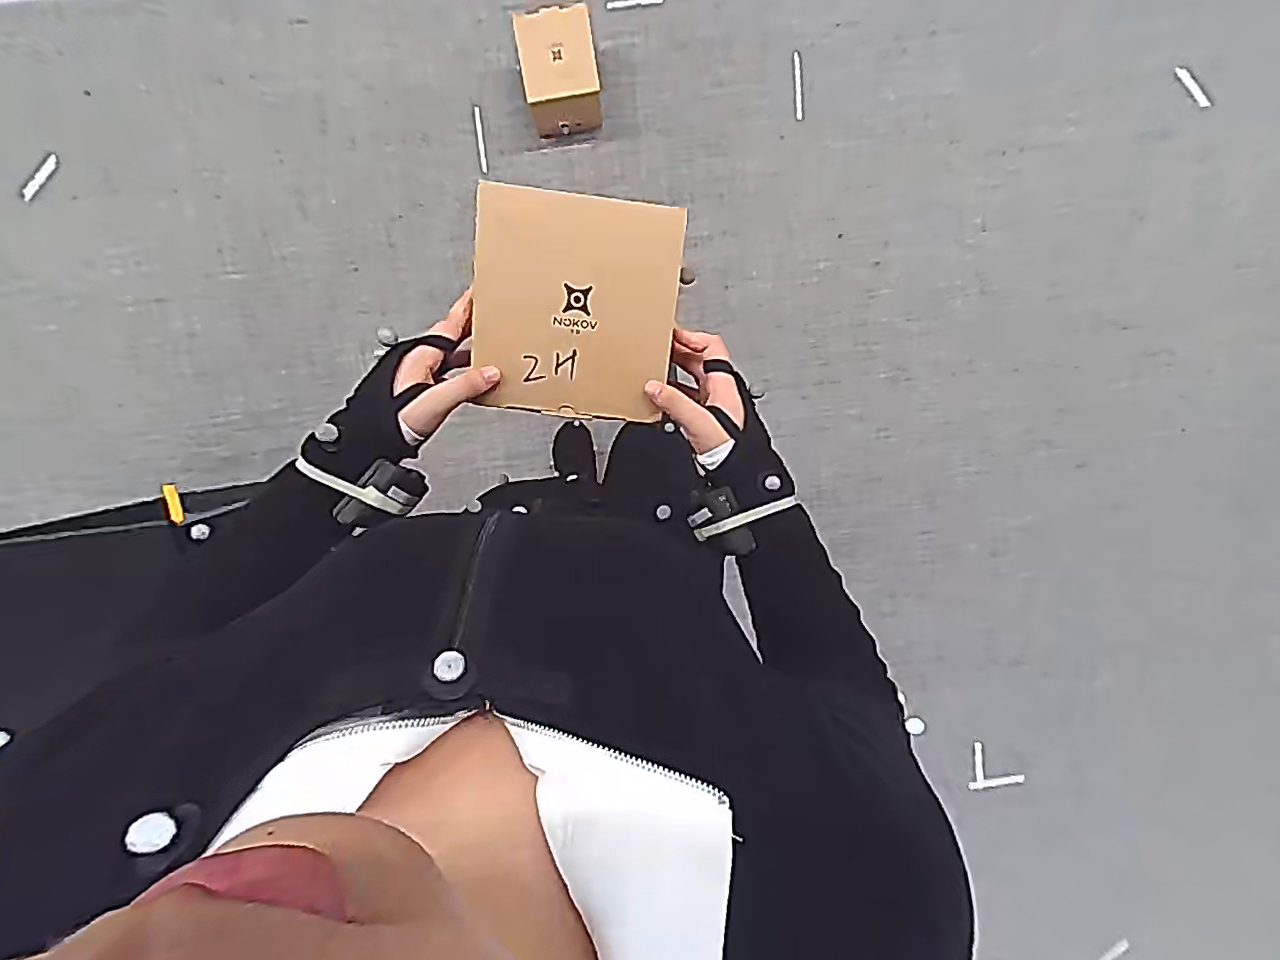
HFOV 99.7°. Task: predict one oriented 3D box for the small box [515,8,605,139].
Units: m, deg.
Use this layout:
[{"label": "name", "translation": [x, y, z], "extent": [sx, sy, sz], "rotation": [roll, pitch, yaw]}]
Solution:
[{"label": "small box", "translation": [-0.178, -0.931, 1.253], "extent": [0.168, 0.176, 0.179], "rotation": [-10, 100, 1]}]
